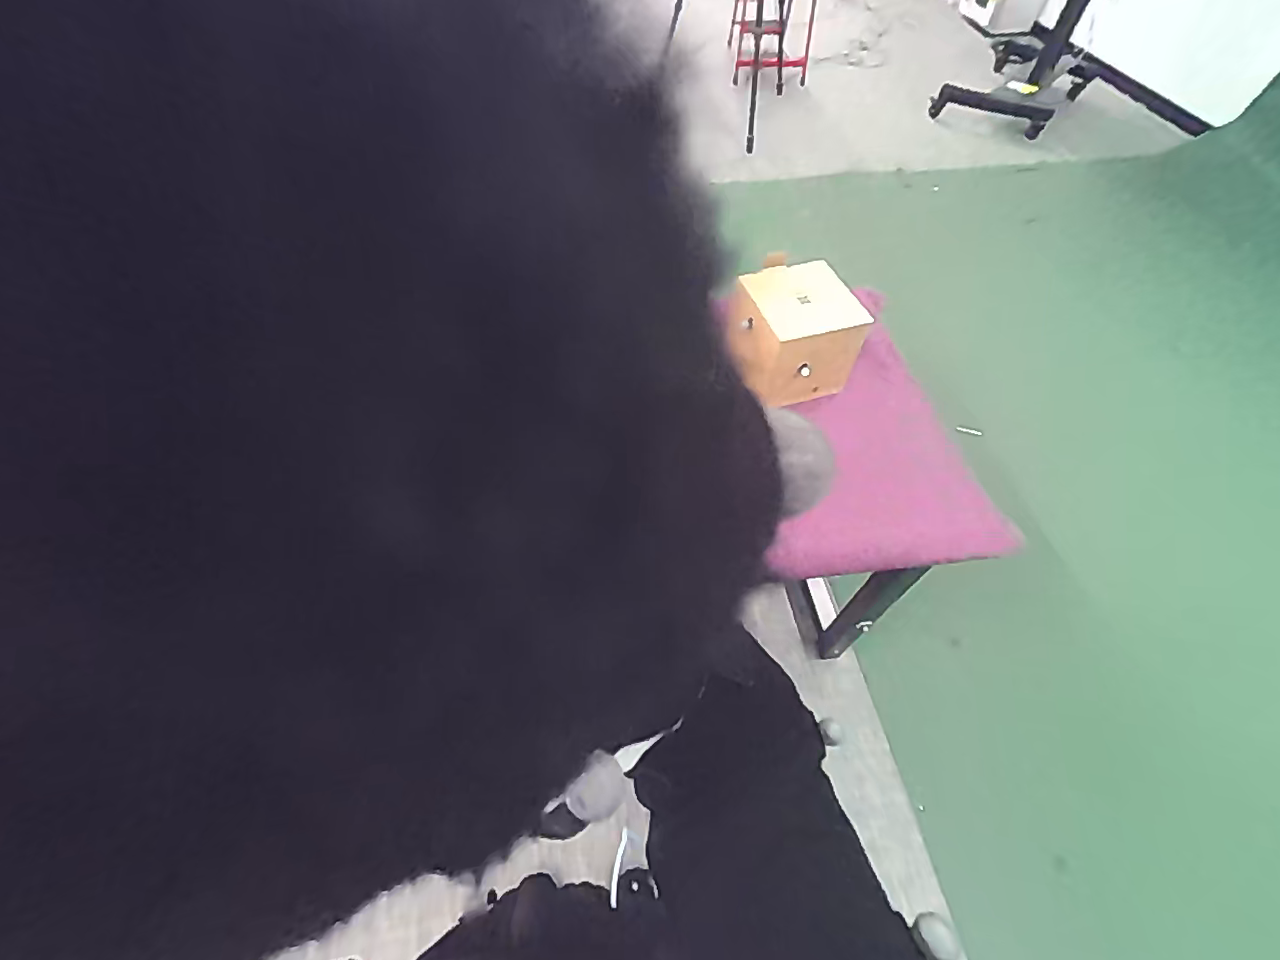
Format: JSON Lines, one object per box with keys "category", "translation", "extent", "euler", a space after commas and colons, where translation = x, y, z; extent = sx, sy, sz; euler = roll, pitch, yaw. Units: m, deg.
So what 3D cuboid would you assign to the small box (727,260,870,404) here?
{"category": "small box", "translation": [0.266, -0.252, 0.952], "extent": [0.168, 0.176, 0.179], "euler": [-14, 57, -10]}
